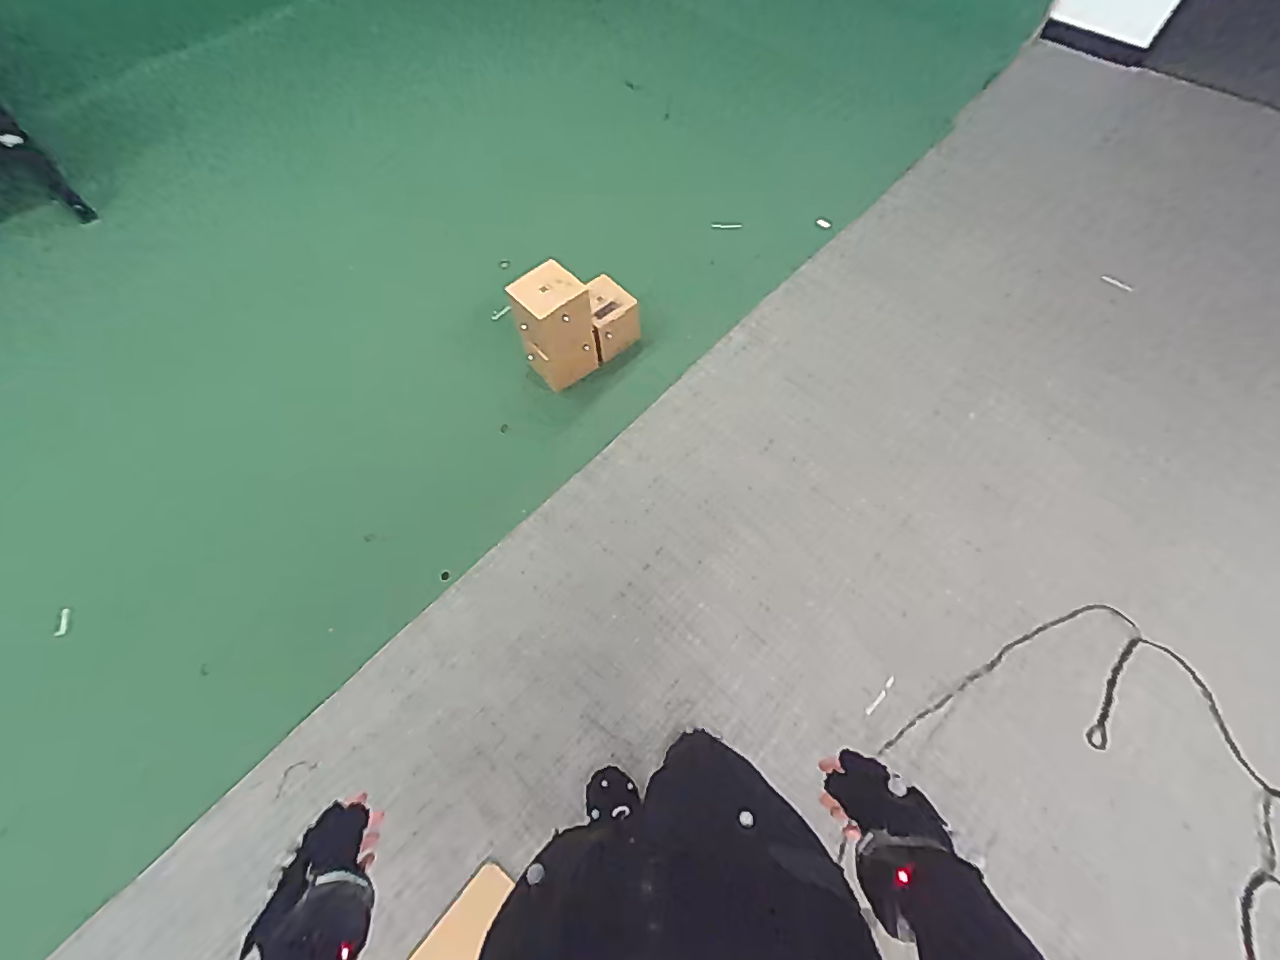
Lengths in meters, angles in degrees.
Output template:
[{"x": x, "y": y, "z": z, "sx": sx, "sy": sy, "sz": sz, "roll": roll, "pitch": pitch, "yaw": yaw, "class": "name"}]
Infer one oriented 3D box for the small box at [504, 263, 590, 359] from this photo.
[{"x": -0.263, "y": -0.488, "z": 1.581, "sx": 0.179, "sy": 0.176, "sz": 0.168, "roll": -40, "pitch": 69, "yaw": -18, "class": "small box"}]
